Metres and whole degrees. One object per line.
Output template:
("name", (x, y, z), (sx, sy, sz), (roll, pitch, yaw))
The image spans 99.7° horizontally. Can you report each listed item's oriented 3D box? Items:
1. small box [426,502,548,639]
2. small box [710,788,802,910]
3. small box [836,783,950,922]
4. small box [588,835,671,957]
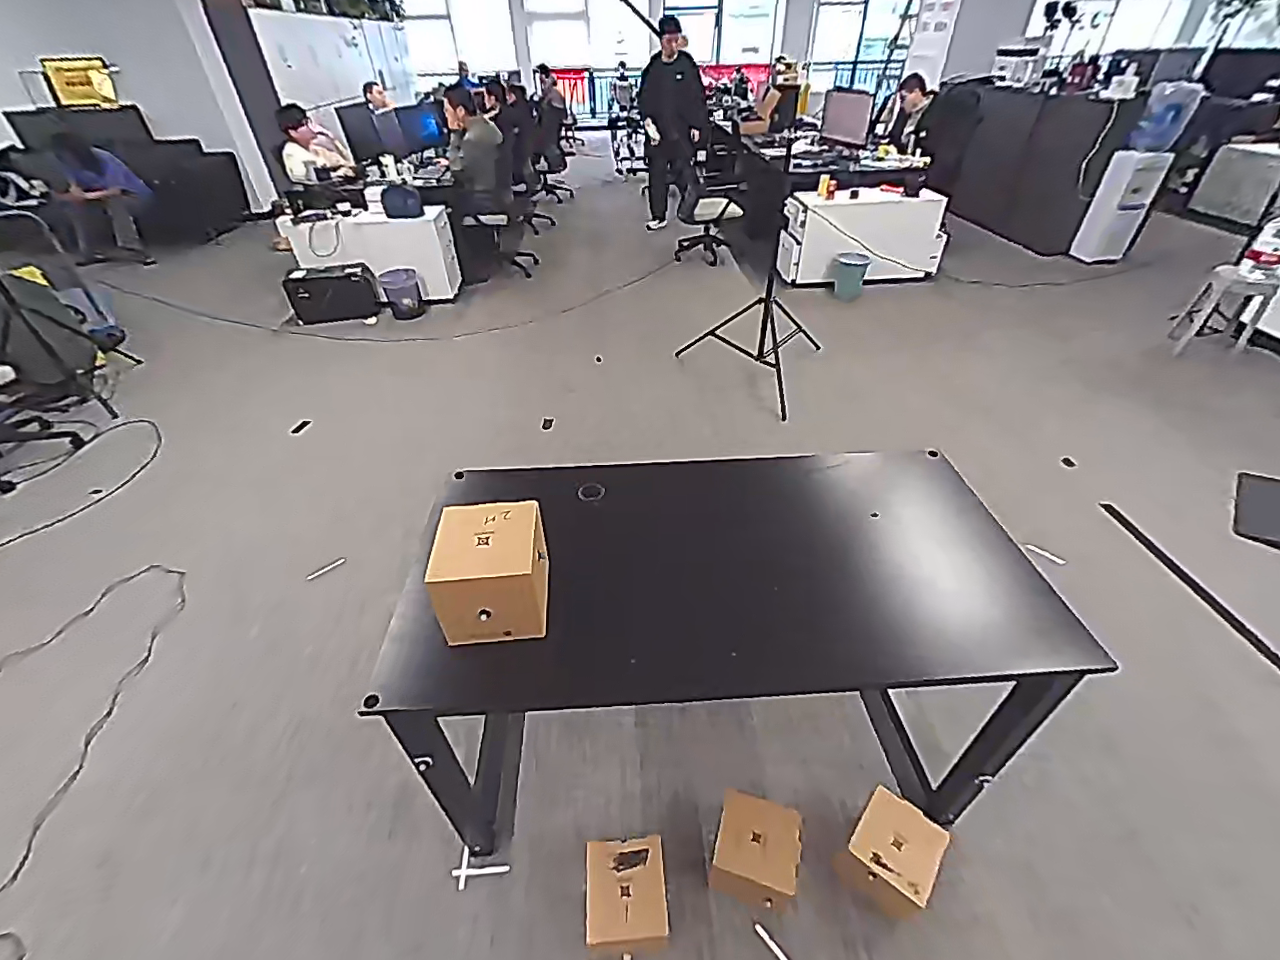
("small box", (-0.254, 0.163, 0.946), (0.168, 0.176, 0.179), (-4, 39, -4))
("small box", (0.265, 0.850, 1.240), (0.179, 0.176, 0.168), (9, 40, 15))
("small box", (0.568, 0.845, 1.230), (0.168, 0.176, 0.179), (27, 48, 31))
("small box", (-0.025, 0.907, 1.180), (0.168, 0.176, 0.179), (-4, 41, -2))
